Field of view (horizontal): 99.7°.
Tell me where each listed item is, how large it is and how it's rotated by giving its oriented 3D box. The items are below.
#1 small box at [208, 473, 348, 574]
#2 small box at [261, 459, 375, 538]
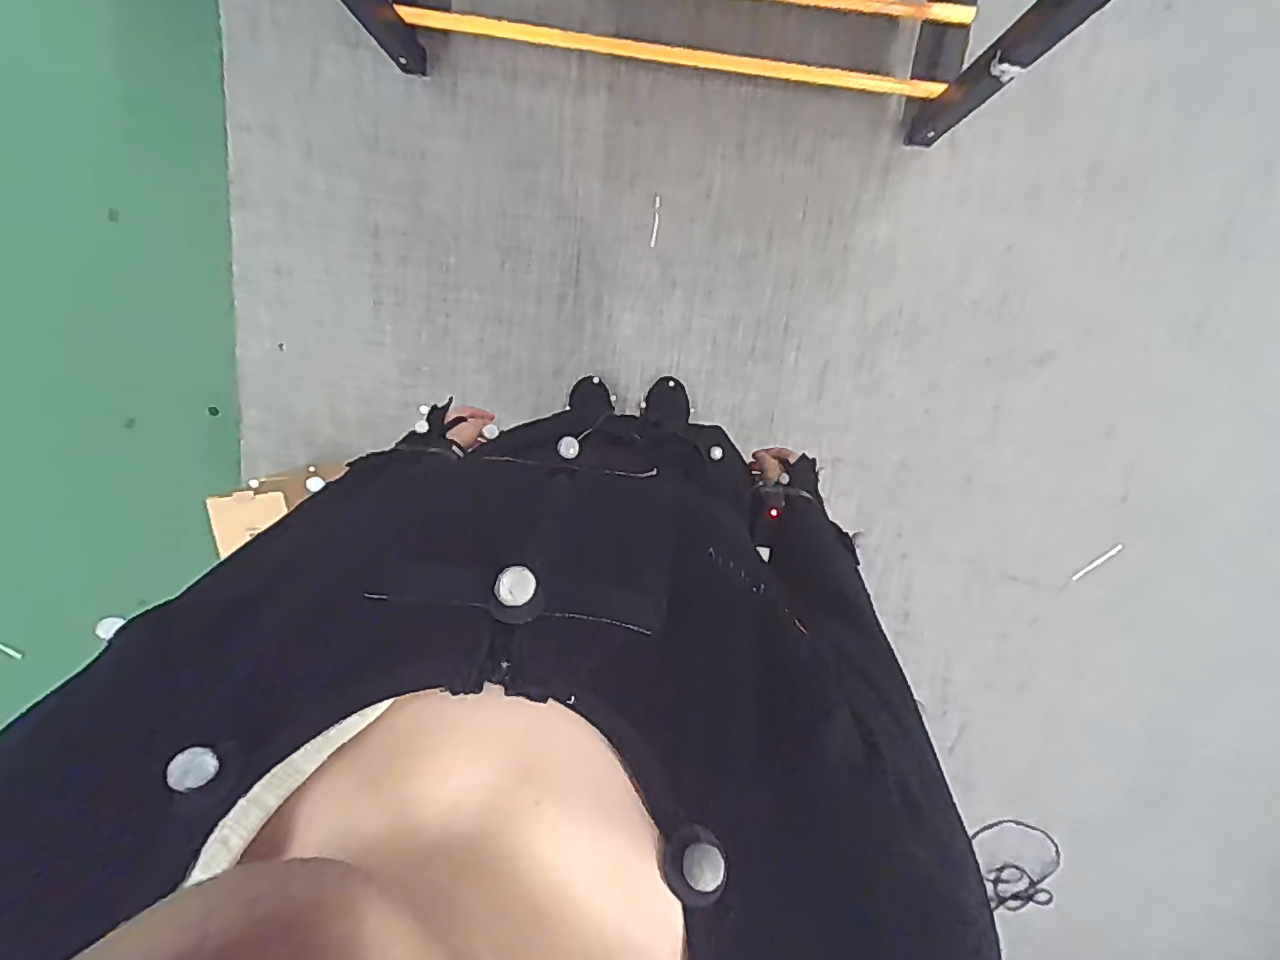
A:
[{"bbox_3d":[-0.766,0.086,1.162,0.168,0.176,0.179,-5,103,4],"label":"small box"},{"bbox_3d":[-0.771,0.045,1.320,0.179,0.176,0.168,-3,102,3],"label":"small box"}]
